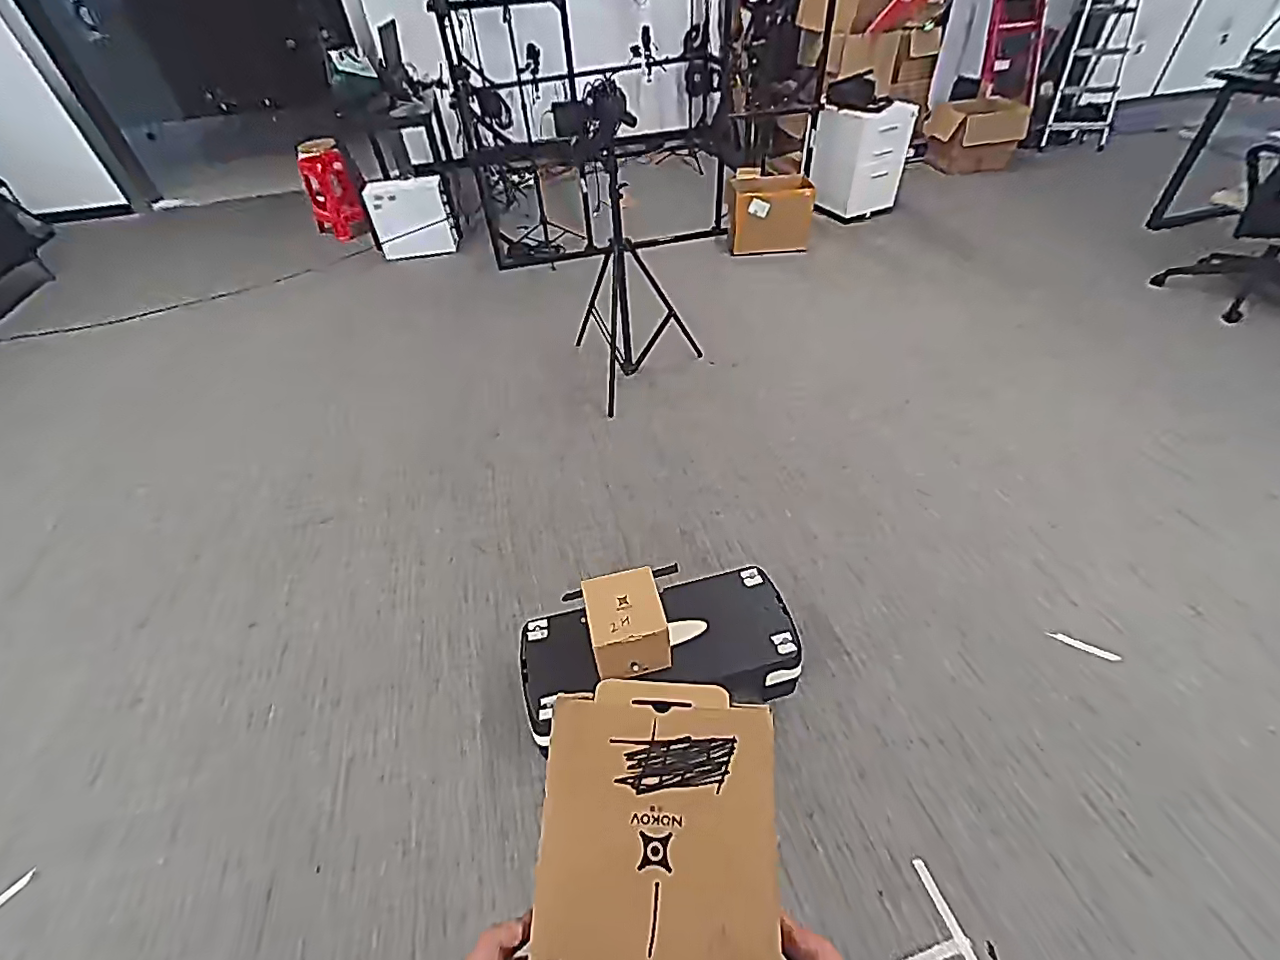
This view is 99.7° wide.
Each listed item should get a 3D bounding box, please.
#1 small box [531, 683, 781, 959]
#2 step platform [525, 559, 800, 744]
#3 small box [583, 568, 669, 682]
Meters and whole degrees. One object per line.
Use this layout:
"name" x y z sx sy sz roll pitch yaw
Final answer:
"small box" 0.018 0.273 0.454 0.168 0.176 0.179 2 67 4
"step platform" 0.054 0.428 1.391 0.684 0.204 0.286 -13 45 -8
"small box" -0.033 0.334 1.245 0.168 0.176 0.179 -12 45 -6
